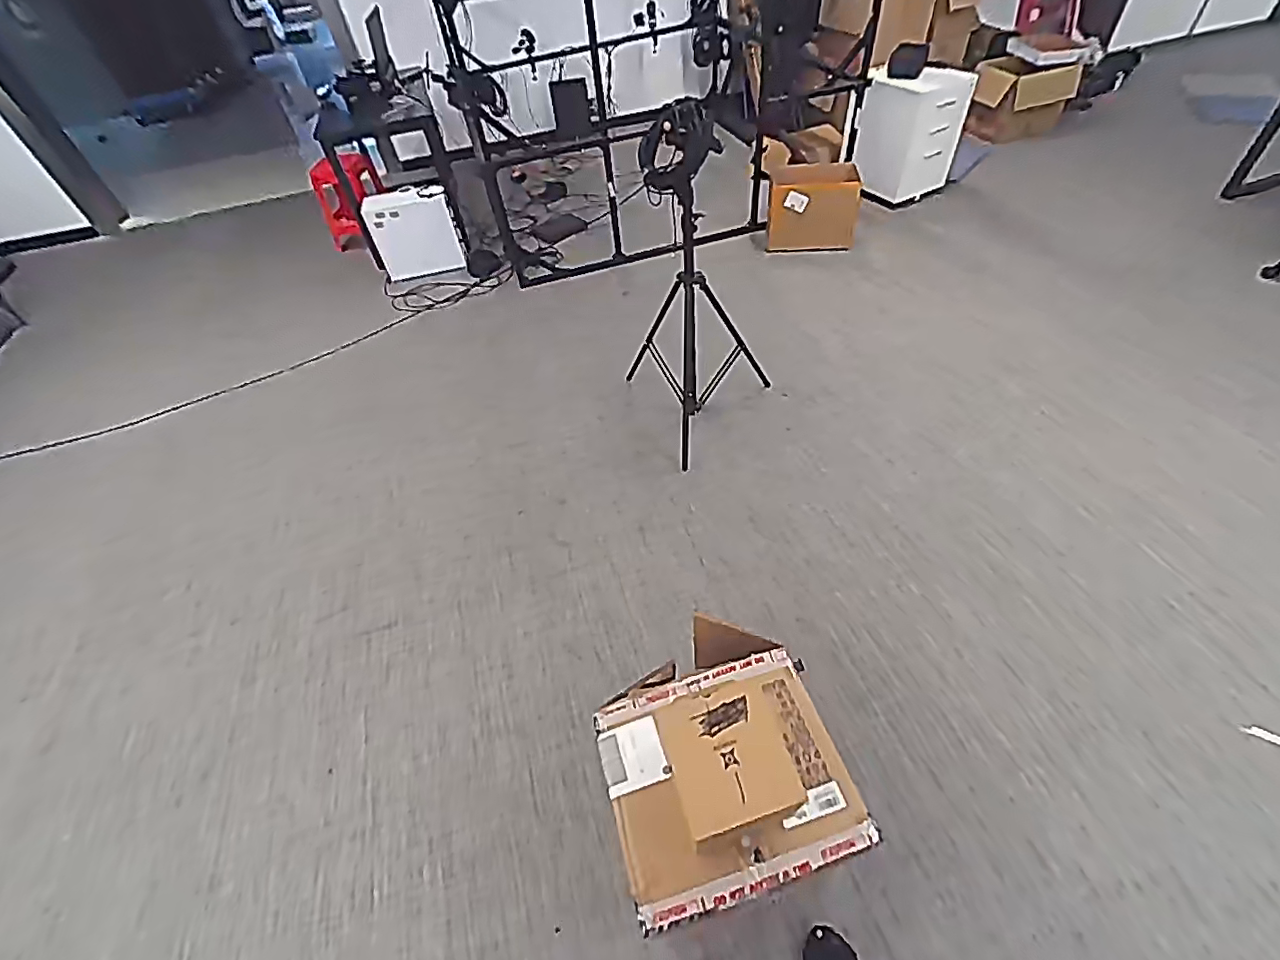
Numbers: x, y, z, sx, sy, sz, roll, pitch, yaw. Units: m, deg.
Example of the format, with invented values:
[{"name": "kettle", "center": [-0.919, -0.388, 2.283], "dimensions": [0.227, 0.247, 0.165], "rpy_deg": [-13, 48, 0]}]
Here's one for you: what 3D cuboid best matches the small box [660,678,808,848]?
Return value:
[{"name": "small box", "center": [0.134, 0.438, 0.834], "dimensions": [0.168, 0.176, 0.179], "rpy_deg": [-16, 52, -7]}]
